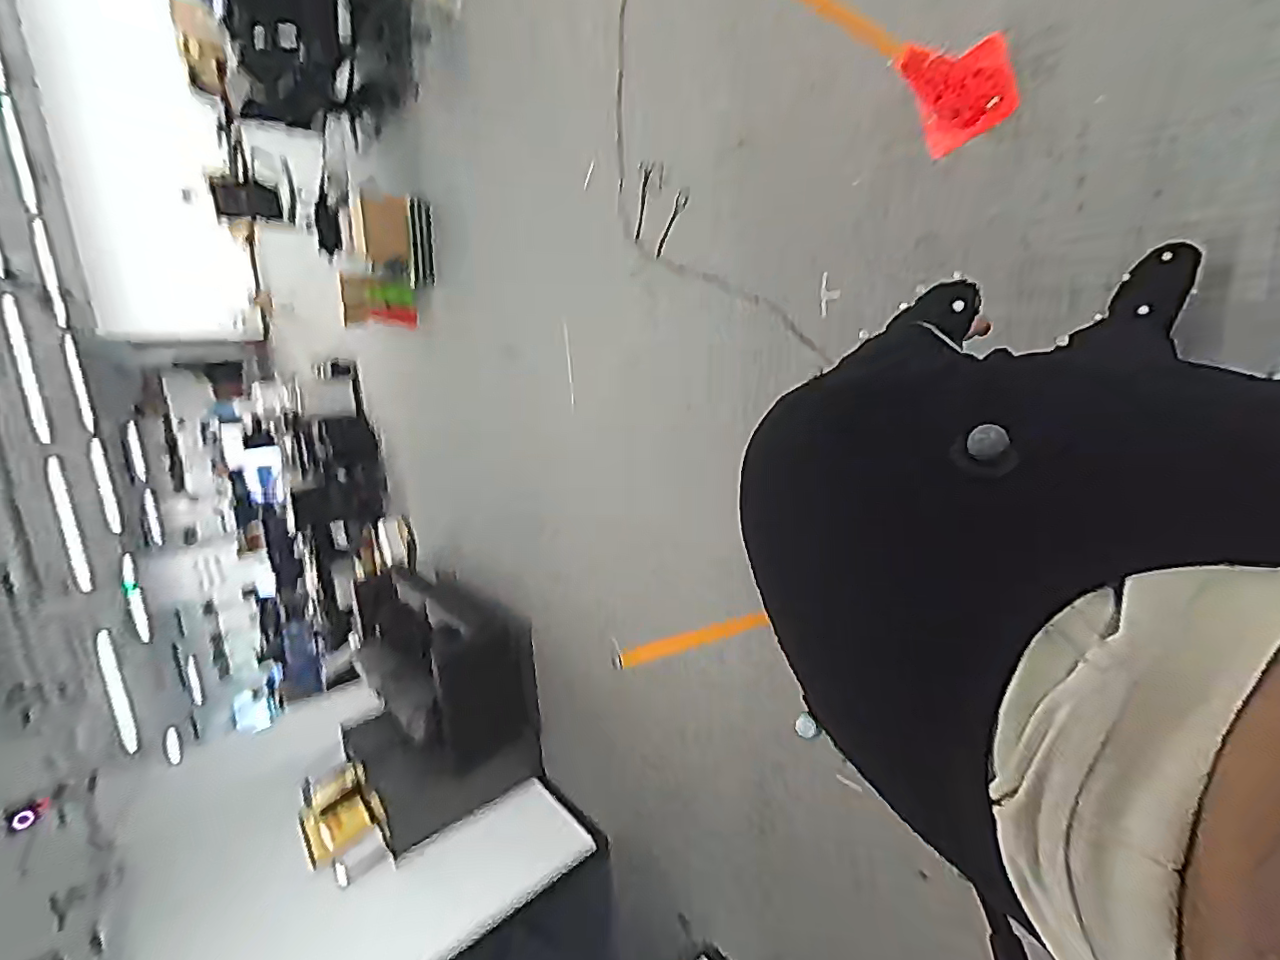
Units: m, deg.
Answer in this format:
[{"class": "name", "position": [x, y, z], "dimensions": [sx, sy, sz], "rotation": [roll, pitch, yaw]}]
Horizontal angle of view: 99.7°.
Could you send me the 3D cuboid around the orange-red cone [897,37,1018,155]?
[{"class": "orange-red cone", "position": [0.691, -0.929, 1.246], "dimensions": [0.198, 0.360, 0.199], "rotation": [-12, 89, 51]}]
